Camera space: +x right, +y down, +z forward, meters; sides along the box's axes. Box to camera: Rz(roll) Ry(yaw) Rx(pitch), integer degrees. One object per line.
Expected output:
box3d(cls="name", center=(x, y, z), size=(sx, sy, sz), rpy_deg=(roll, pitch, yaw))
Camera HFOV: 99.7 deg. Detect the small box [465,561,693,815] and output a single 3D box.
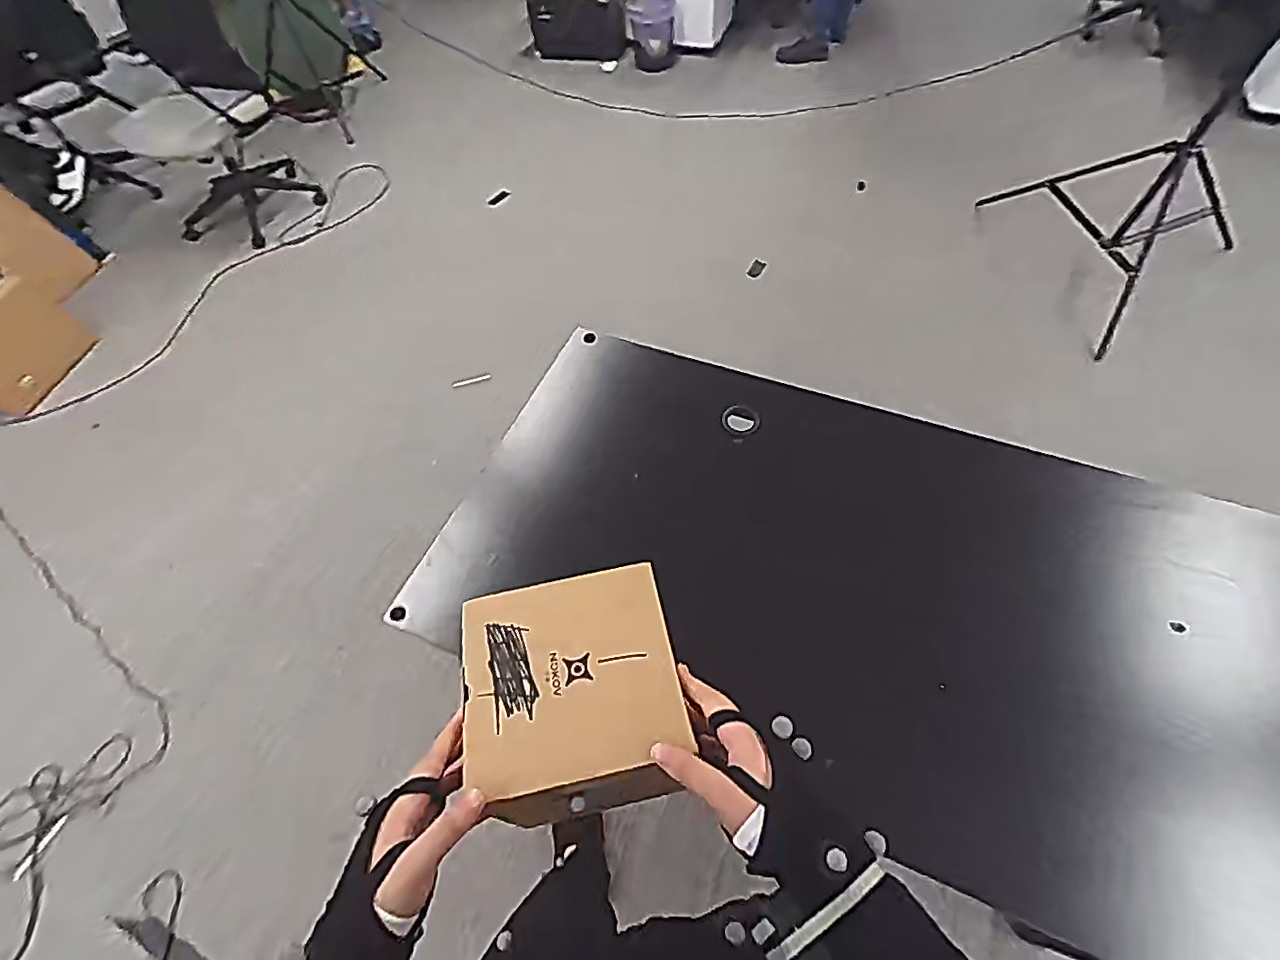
box3d(cls="small box", center=(-0.052, 0.204, 0.518), size=(0.179, 0.176, 0.168), rpy_deg=(-12, 52, -3))
